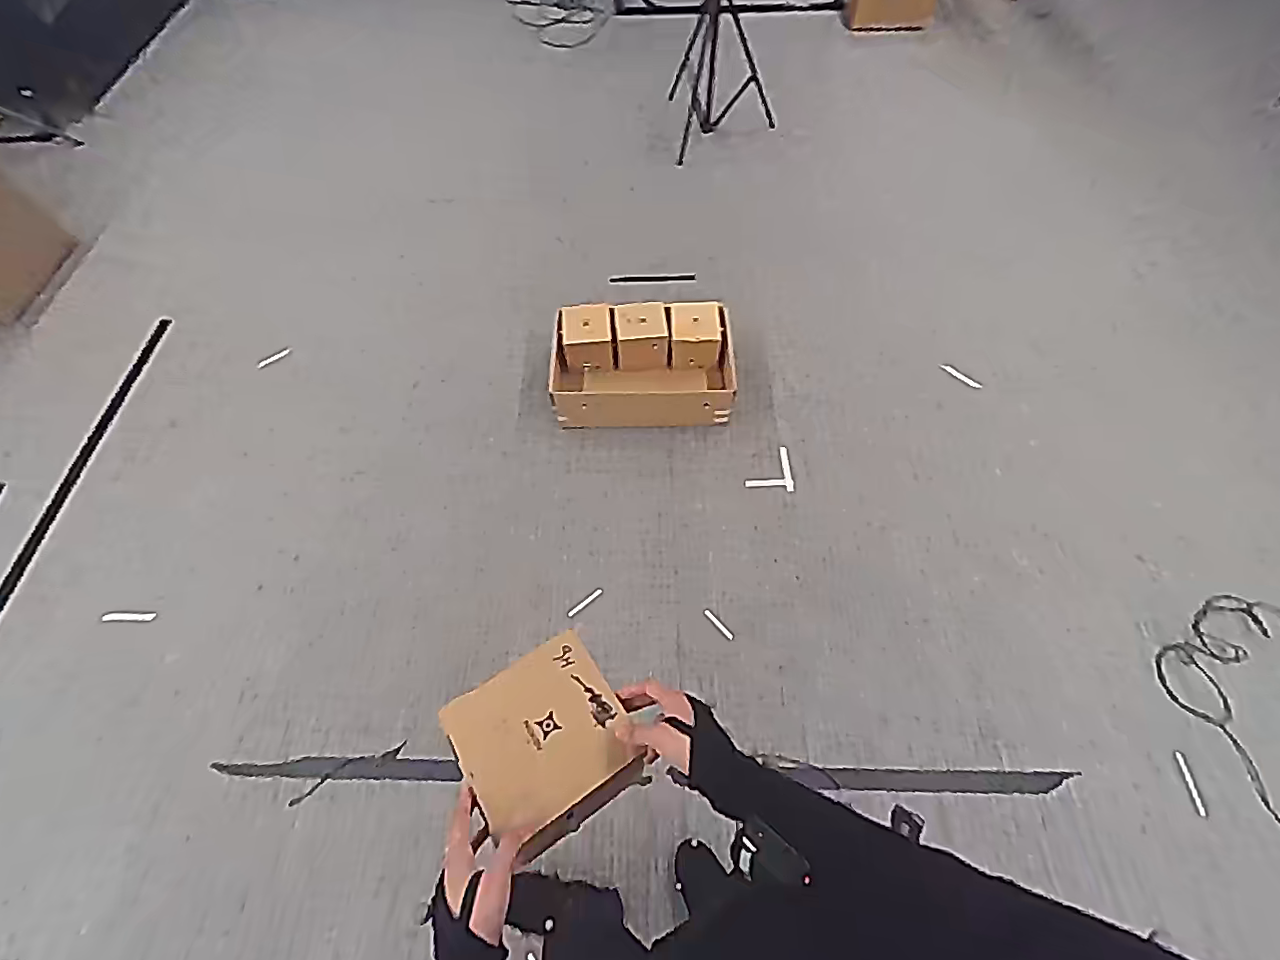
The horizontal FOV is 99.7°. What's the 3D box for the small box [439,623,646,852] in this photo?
[{"bbox_3d":[-0.107,0.311,0.645,0.179,0.176,0.168,-28,59,-21],"label":"small box"}]
